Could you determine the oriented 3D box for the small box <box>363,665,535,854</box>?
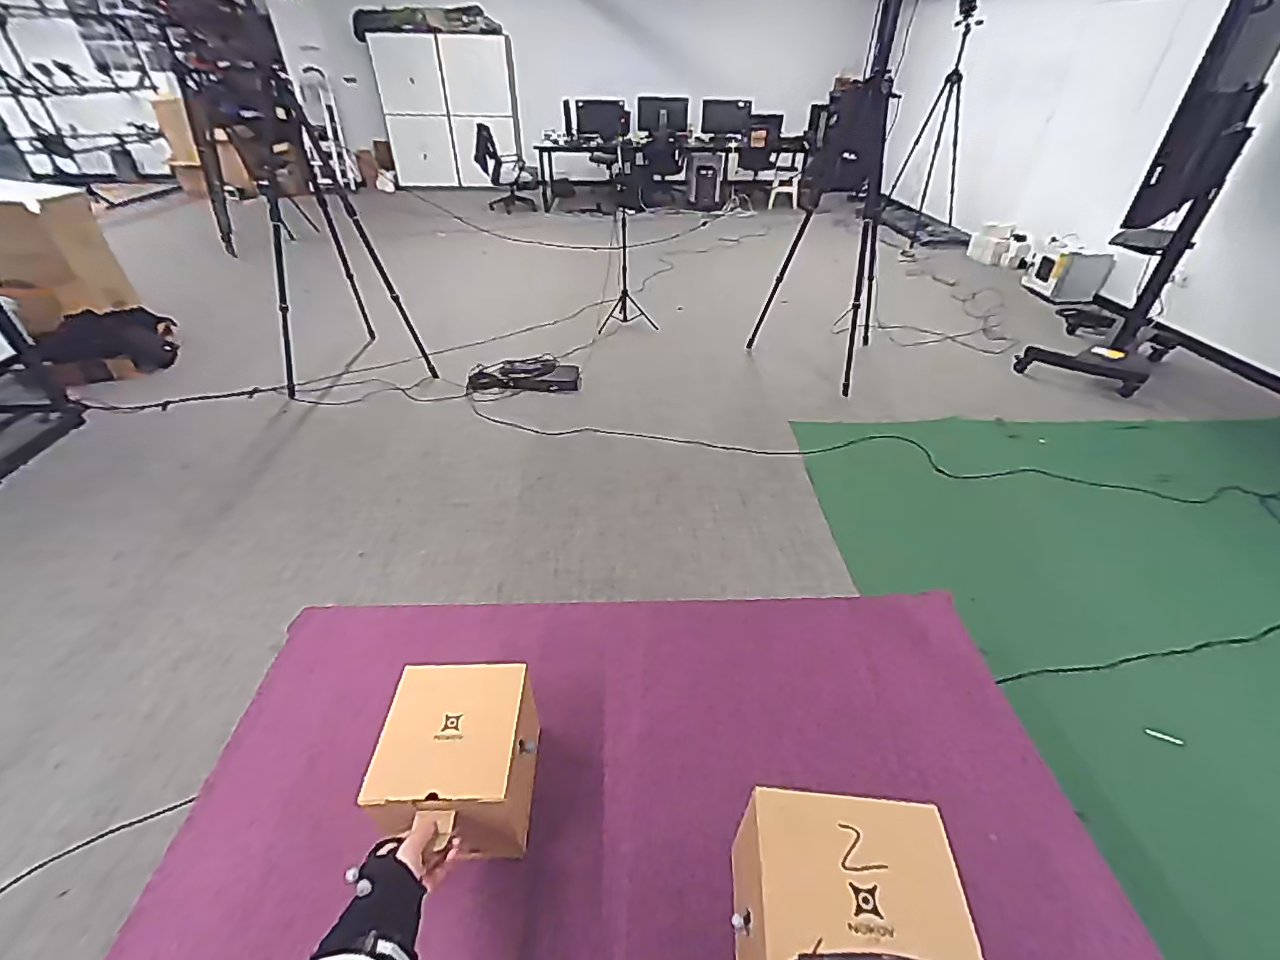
[{"bbox_3d":[-0.239,0.374,0.731,0.168,0.176,0.179,0,38,-1],"label":"small box"}]
